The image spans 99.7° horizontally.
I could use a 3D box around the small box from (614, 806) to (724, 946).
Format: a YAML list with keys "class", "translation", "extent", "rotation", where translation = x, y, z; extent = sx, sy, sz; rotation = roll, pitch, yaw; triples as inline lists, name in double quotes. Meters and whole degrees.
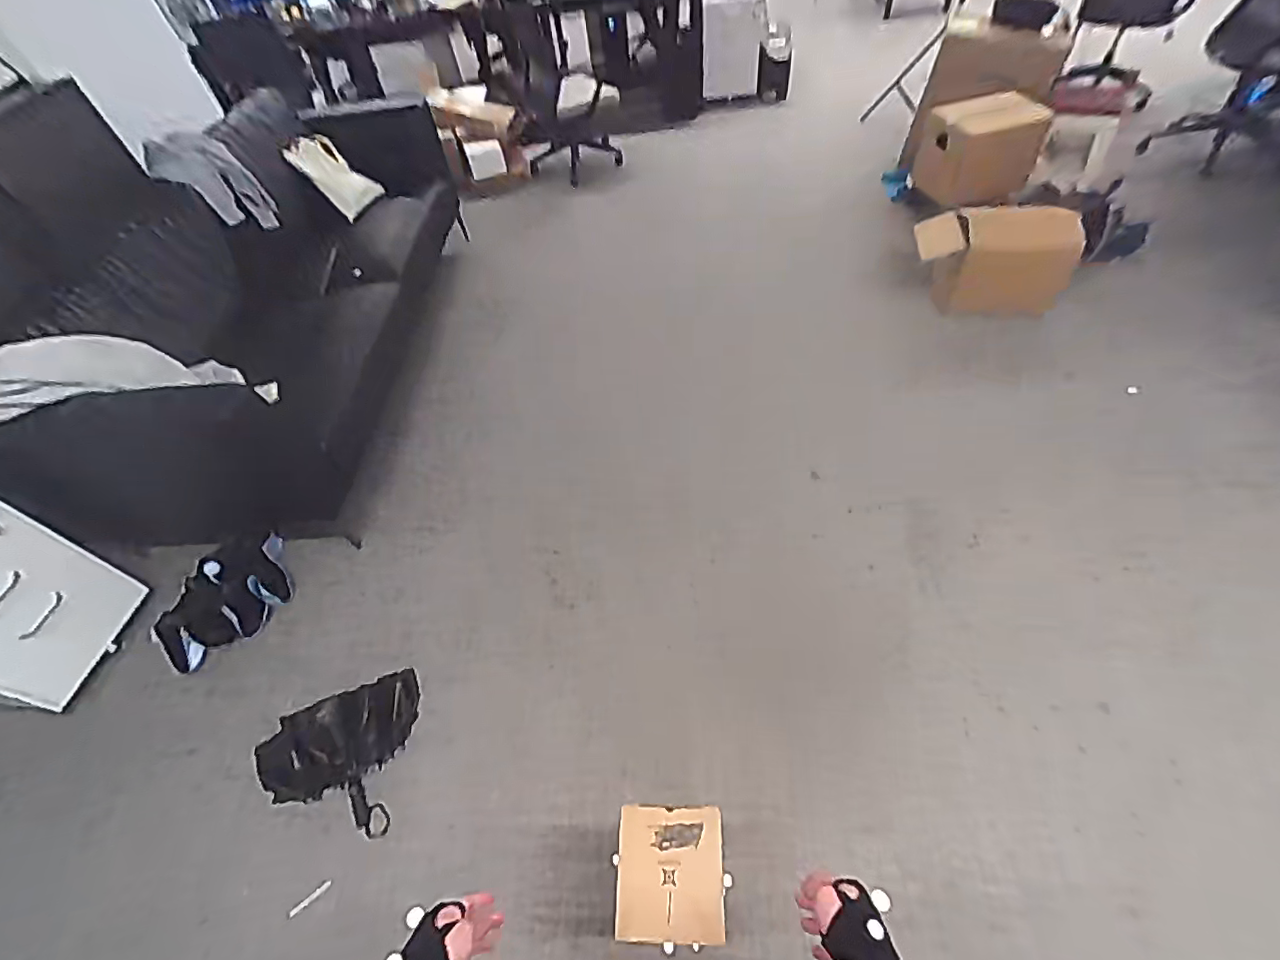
- class: "small box"
  translation: [0.051, 0.665, 0.914]
  extent: [0.168, 0.176, 0.179]
  rotation: [-2, 53, 5]
